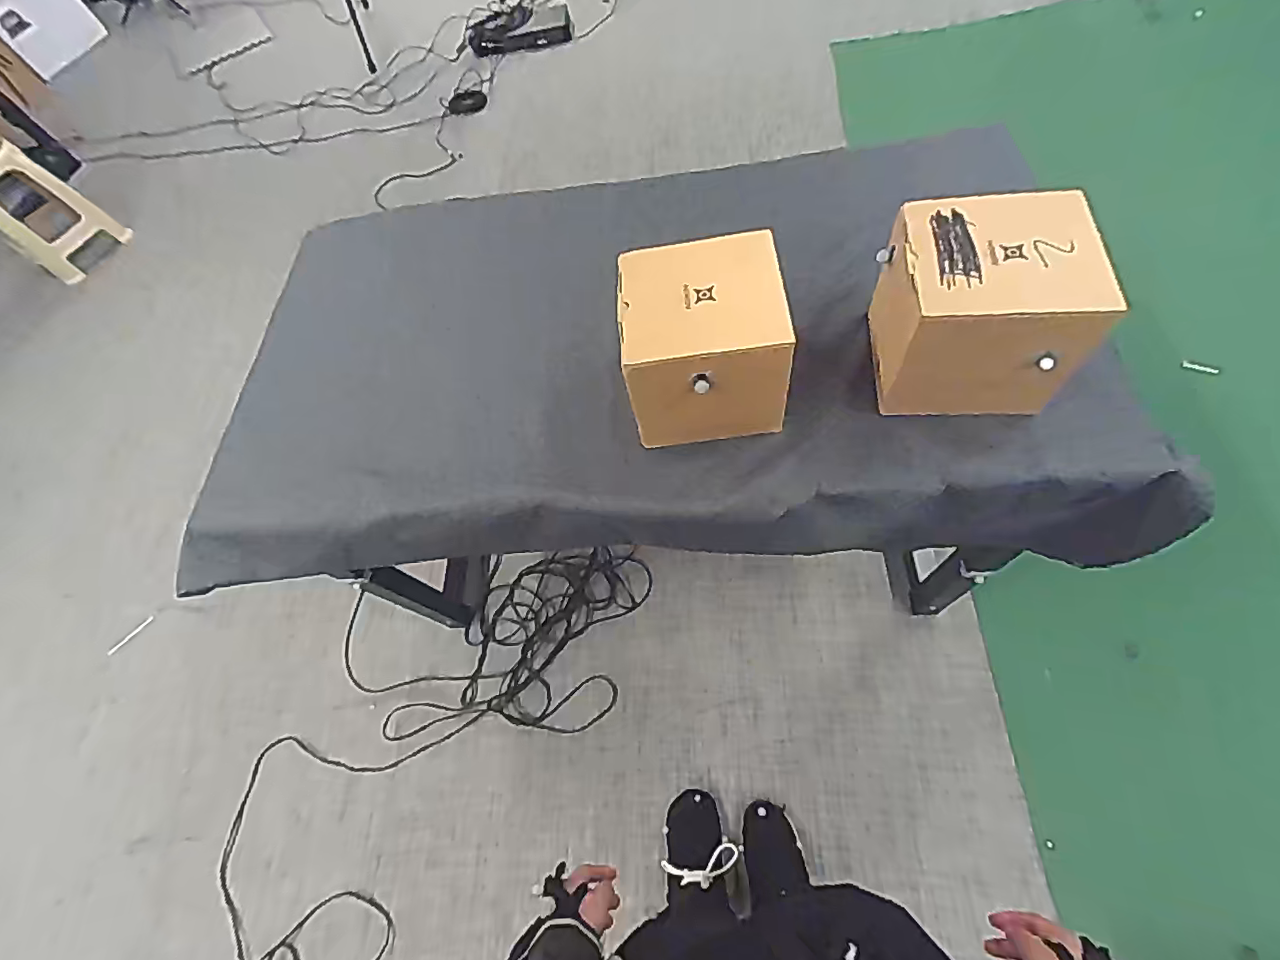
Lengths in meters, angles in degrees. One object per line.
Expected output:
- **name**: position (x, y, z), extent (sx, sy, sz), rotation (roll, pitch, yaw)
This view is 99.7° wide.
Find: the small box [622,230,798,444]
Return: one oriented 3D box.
- **small box**: position (0.079, -0.160, 0.644), extent (0.179, 0.176, 0.168), rotation (-7, 62, 8)
